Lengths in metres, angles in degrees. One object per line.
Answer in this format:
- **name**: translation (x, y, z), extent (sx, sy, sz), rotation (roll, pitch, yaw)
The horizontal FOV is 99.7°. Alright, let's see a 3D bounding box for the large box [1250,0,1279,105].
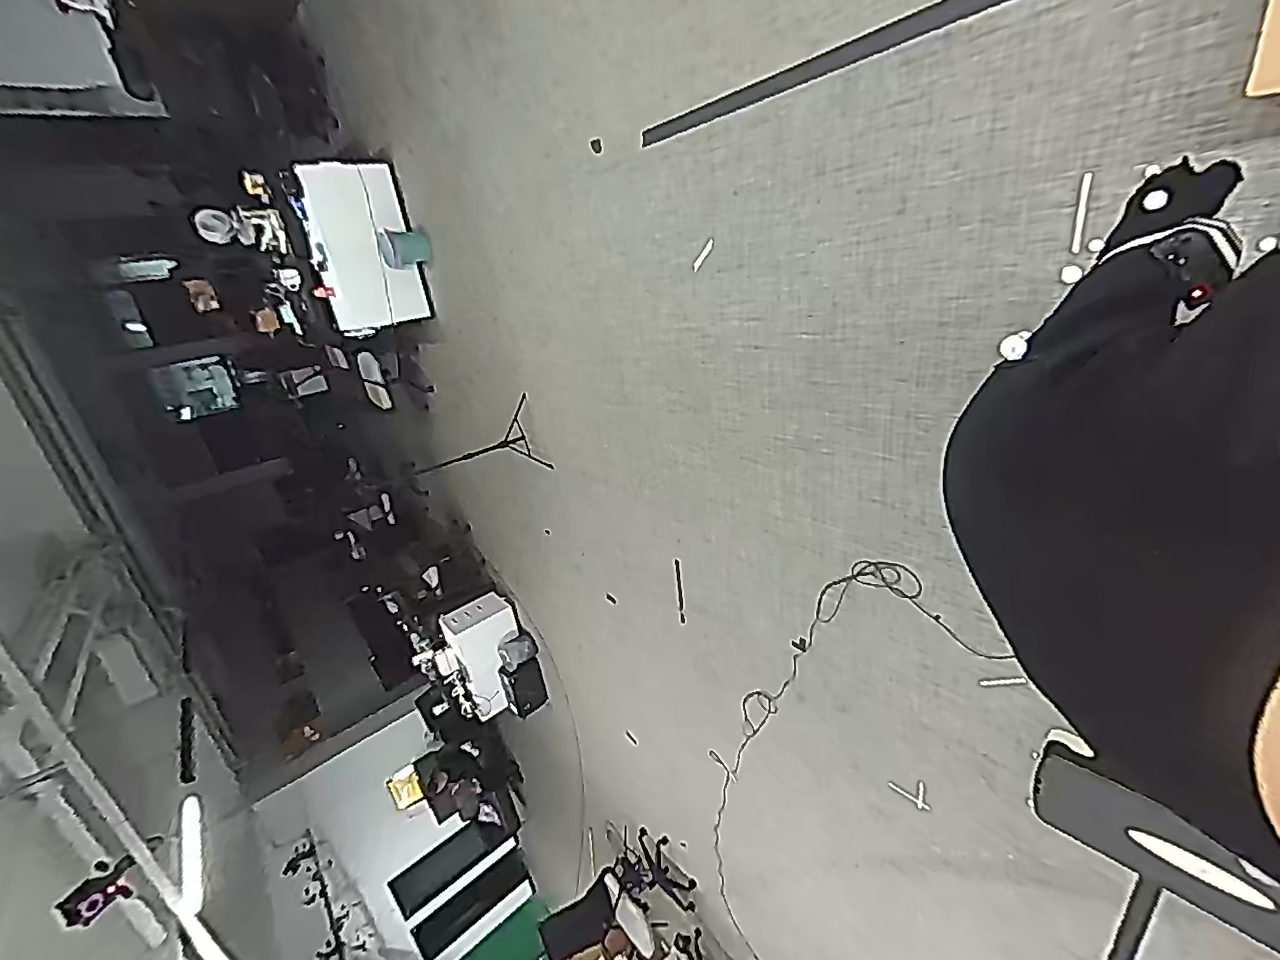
- **large box**: translation (1.036, -0.669, 0.612), extent (0.408, 0.320, 0.320), rotation (18, 125, 46)
